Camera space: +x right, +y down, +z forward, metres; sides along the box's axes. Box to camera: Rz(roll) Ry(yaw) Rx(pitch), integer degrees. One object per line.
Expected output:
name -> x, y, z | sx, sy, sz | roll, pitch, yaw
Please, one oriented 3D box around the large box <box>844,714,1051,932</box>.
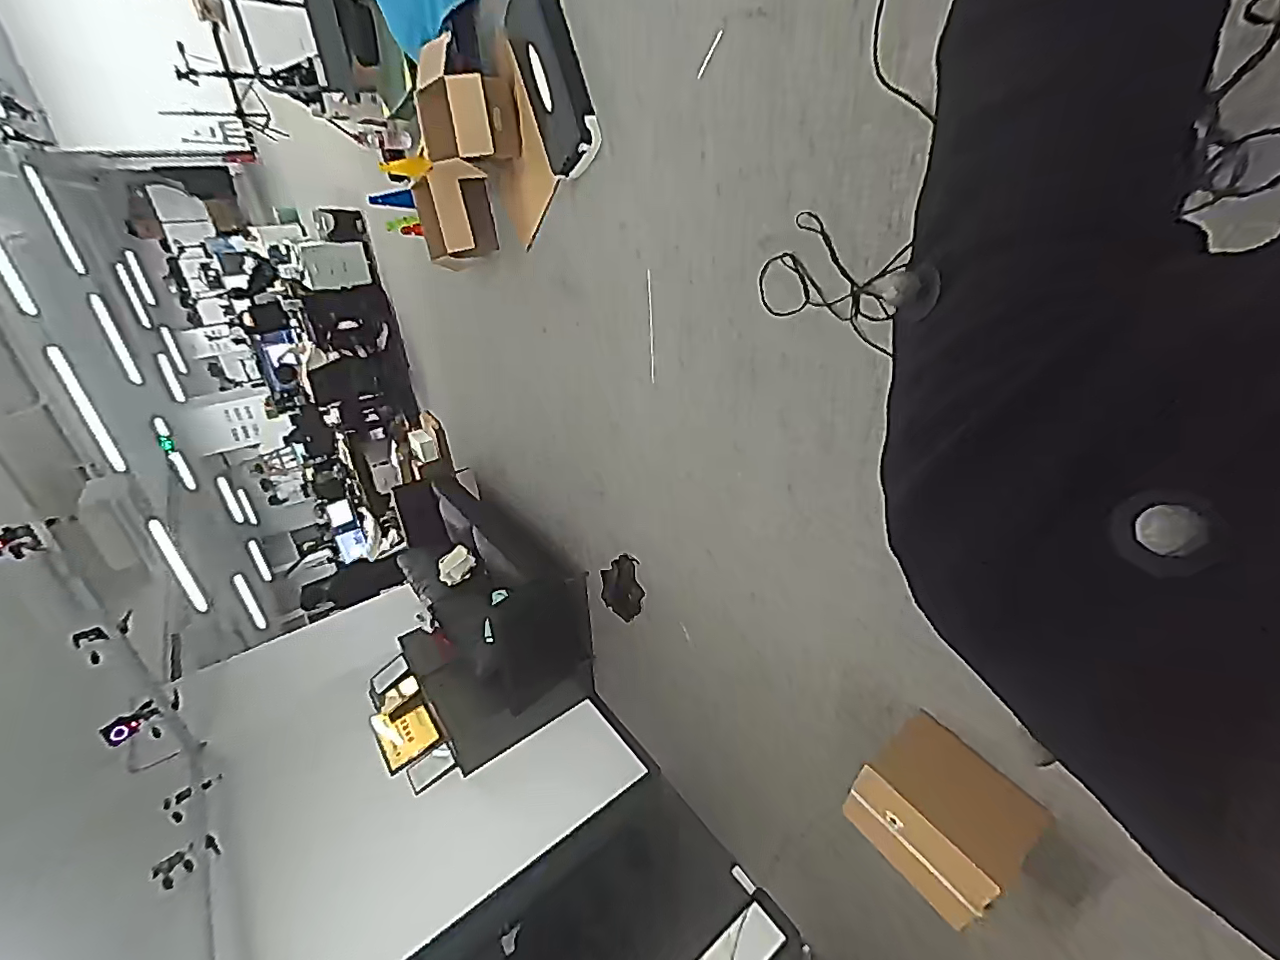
large box -> 0.914, 1.020, 1.647 | 0.408, 0.320, 0.320 | 39, 138, 40
